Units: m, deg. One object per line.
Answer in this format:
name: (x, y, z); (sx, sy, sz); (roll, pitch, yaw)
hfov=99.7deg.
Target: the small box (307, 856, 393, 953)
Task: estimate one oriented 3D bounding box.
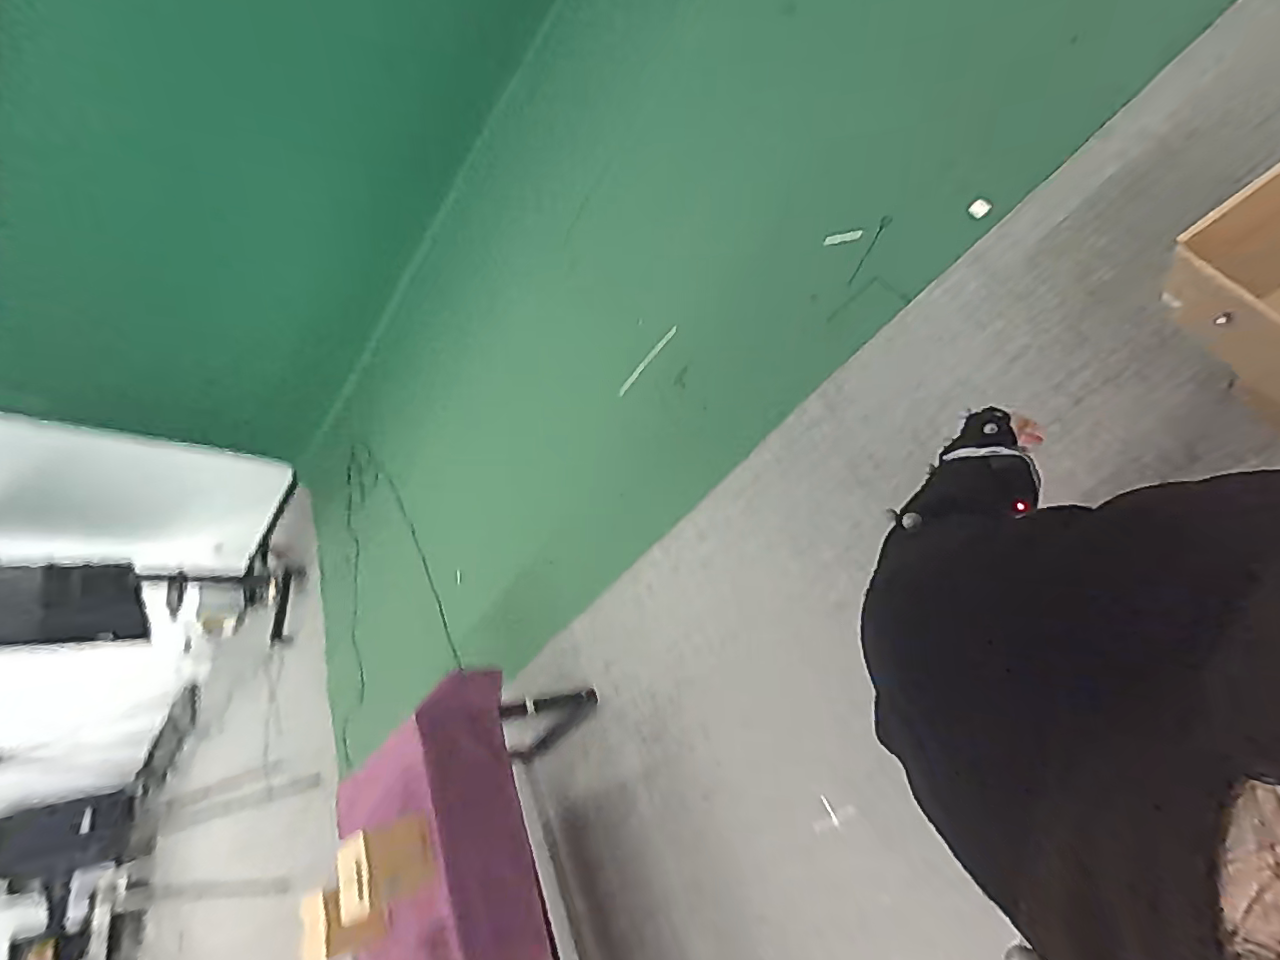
small box: (-0.814, 1.190, 1.524); (0.179, 0.176, 0.168); (-38, 56, 30)
